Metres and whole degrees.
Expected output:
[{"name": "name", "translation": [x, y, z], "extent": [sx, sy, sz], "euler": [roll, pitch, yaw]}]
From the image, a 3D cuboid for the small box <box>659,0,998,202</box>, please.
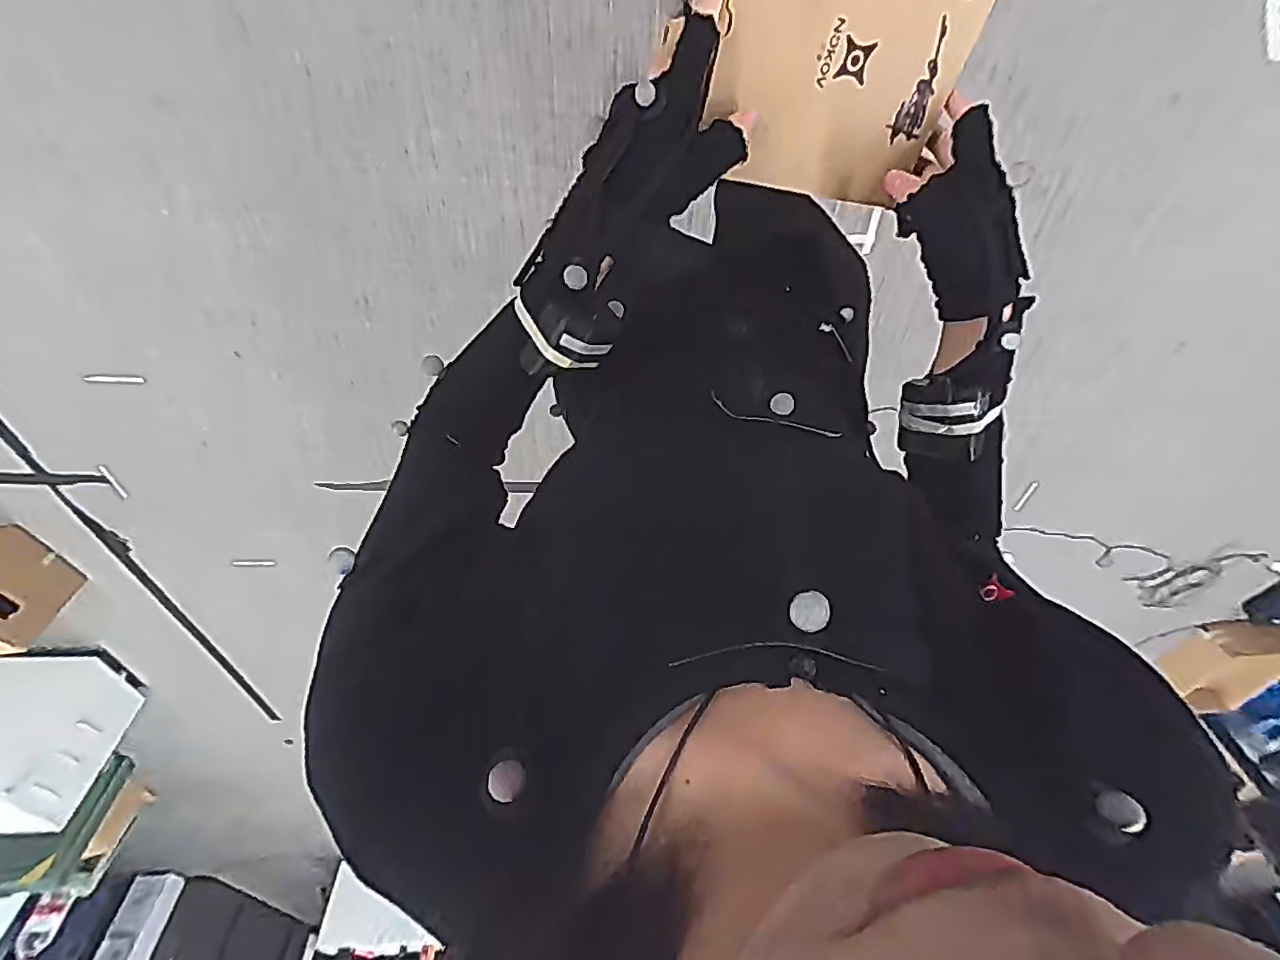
[{"name": "small box", "translation": [0.121, -0.331, 0.399], "extent": [0.179, 0.176, 0.168], "euler": [3, 133, -14]}]
